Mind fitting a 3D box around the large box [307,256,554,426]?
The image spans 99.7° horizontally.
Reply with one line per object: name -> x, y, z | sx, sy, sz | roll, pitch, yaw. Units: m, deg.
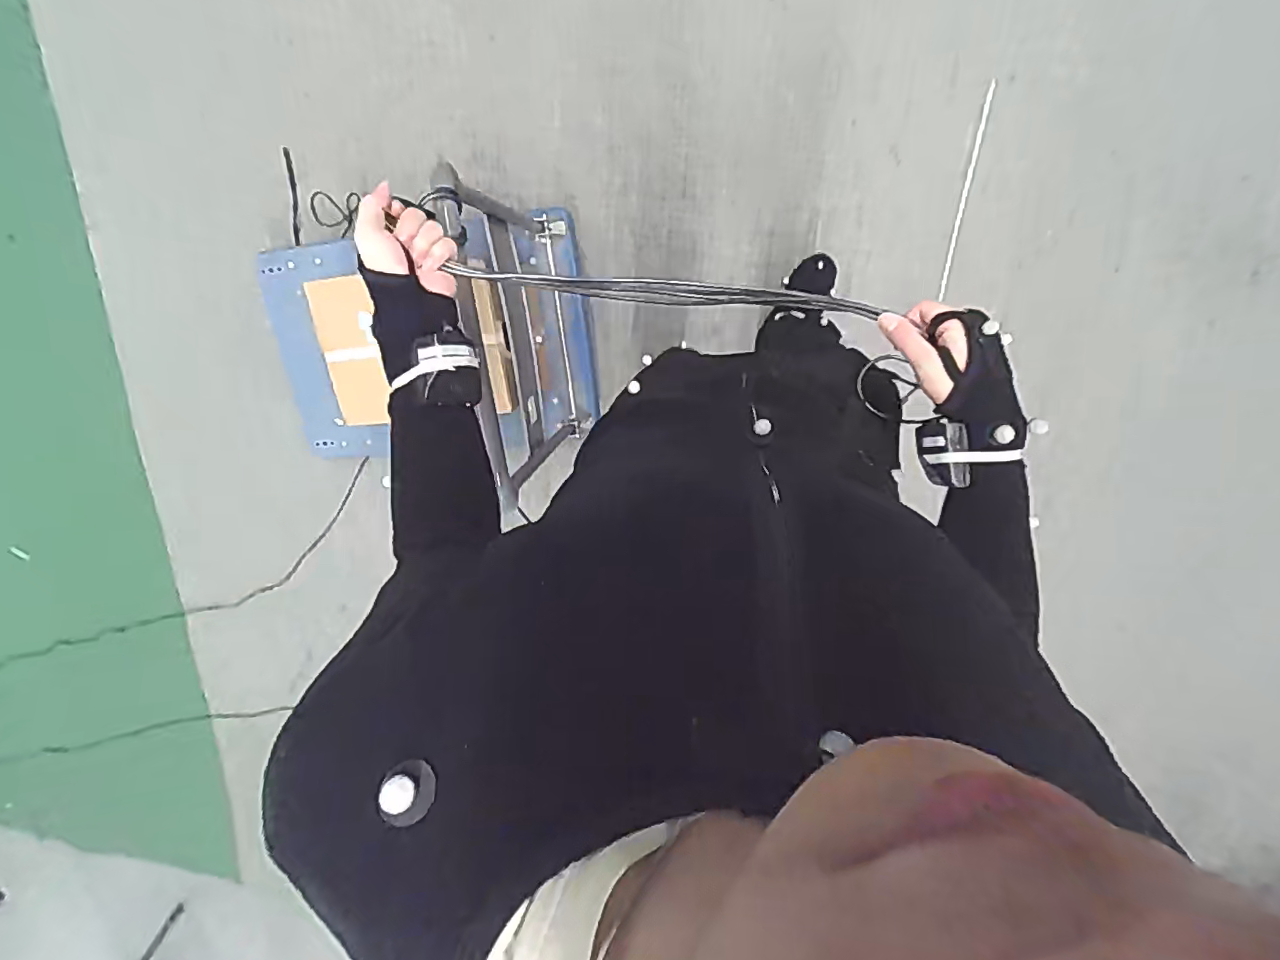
large box -> -0.457, -0.327, 1.269 | 0.408, 0.320, 0.320 | -3, 108, 10
